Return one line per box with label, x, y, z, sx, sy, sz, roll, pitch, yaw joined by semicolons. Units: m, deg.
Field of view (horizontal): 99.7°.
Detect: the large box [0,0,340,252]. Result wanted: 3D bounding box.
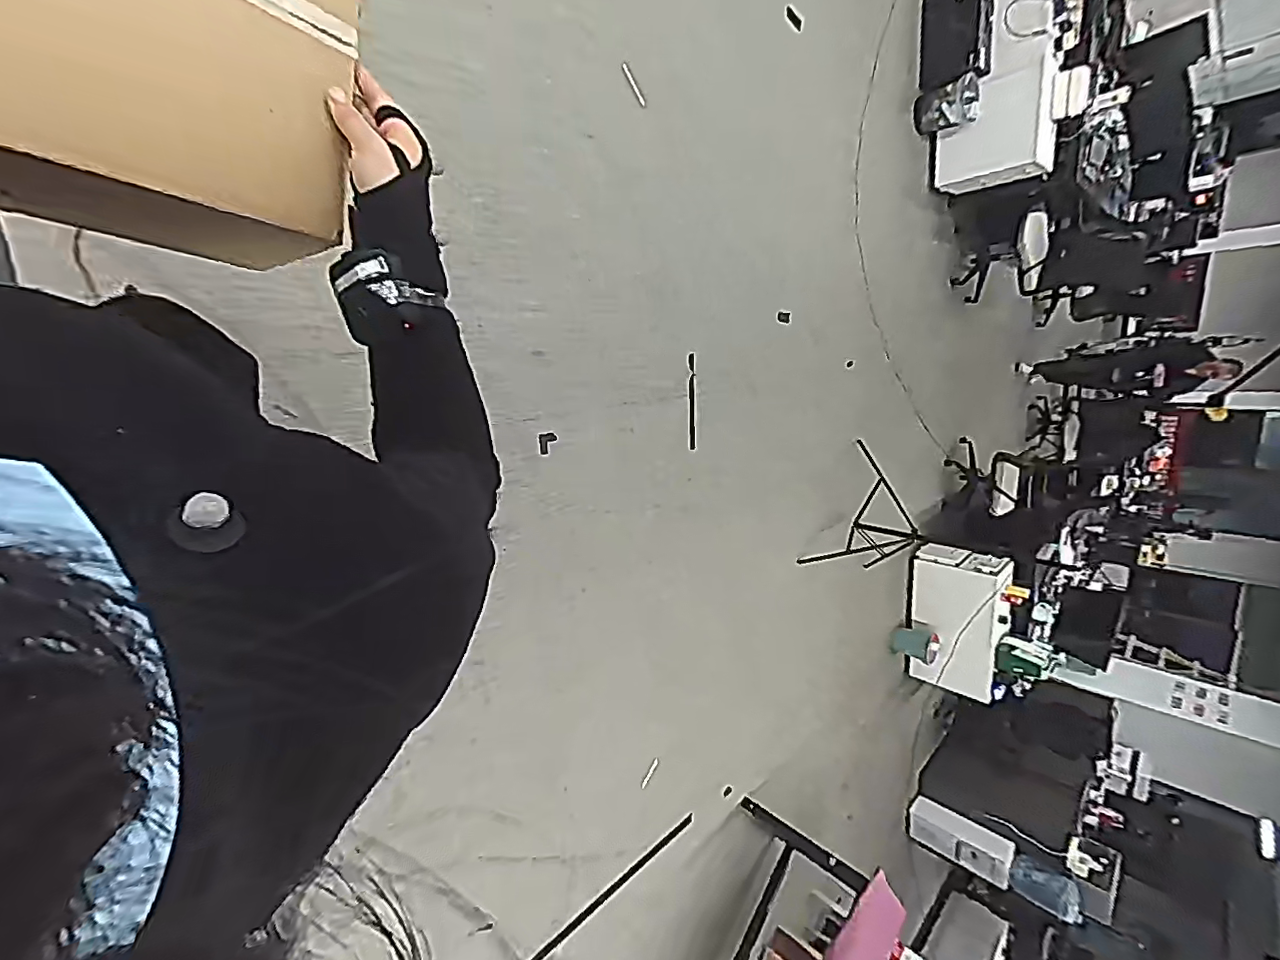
large box;-0.493;-0.394;0.411;0.408;0.320;0.320;0;101;-46
